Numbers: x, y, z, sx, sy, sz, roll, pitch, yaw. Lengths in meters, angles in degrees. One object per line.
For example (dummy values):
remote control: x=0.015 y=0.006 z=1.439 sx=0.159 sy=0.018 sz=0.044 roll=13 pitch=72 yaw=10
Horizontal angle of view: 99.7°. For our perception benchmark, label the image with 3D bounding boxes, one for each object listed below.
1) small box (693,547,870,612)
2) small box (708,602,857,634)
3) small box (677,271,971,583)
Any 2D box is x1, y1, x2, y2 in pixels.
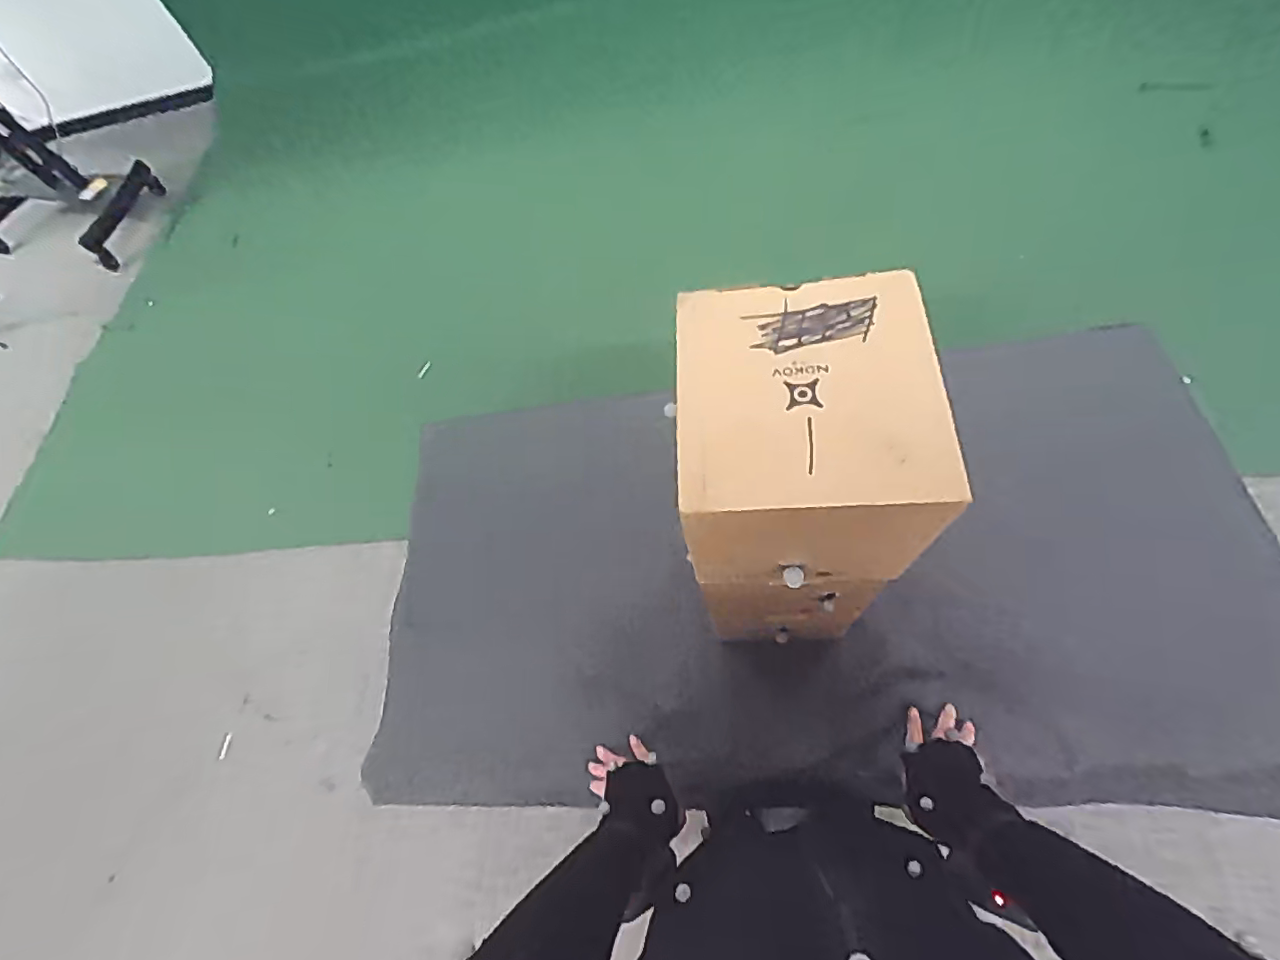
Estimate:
small box: x=0.143 y=0.037 z=0.565 sx=0.168 sy=0.176 sz=0.179 roll=-4 pitch=63 yaw=9
small box: x=0.176 y=0.105 z=0.709 sx=0.168 sy=0.176 sz=0.179 roll=-4 pitch=65 yaw=10
small box: x=0.118 y=-0.027 z=0.416 sx=0.168 sy=0.176 sz=0.179 roll=-3 pitch=65 yaw=10
